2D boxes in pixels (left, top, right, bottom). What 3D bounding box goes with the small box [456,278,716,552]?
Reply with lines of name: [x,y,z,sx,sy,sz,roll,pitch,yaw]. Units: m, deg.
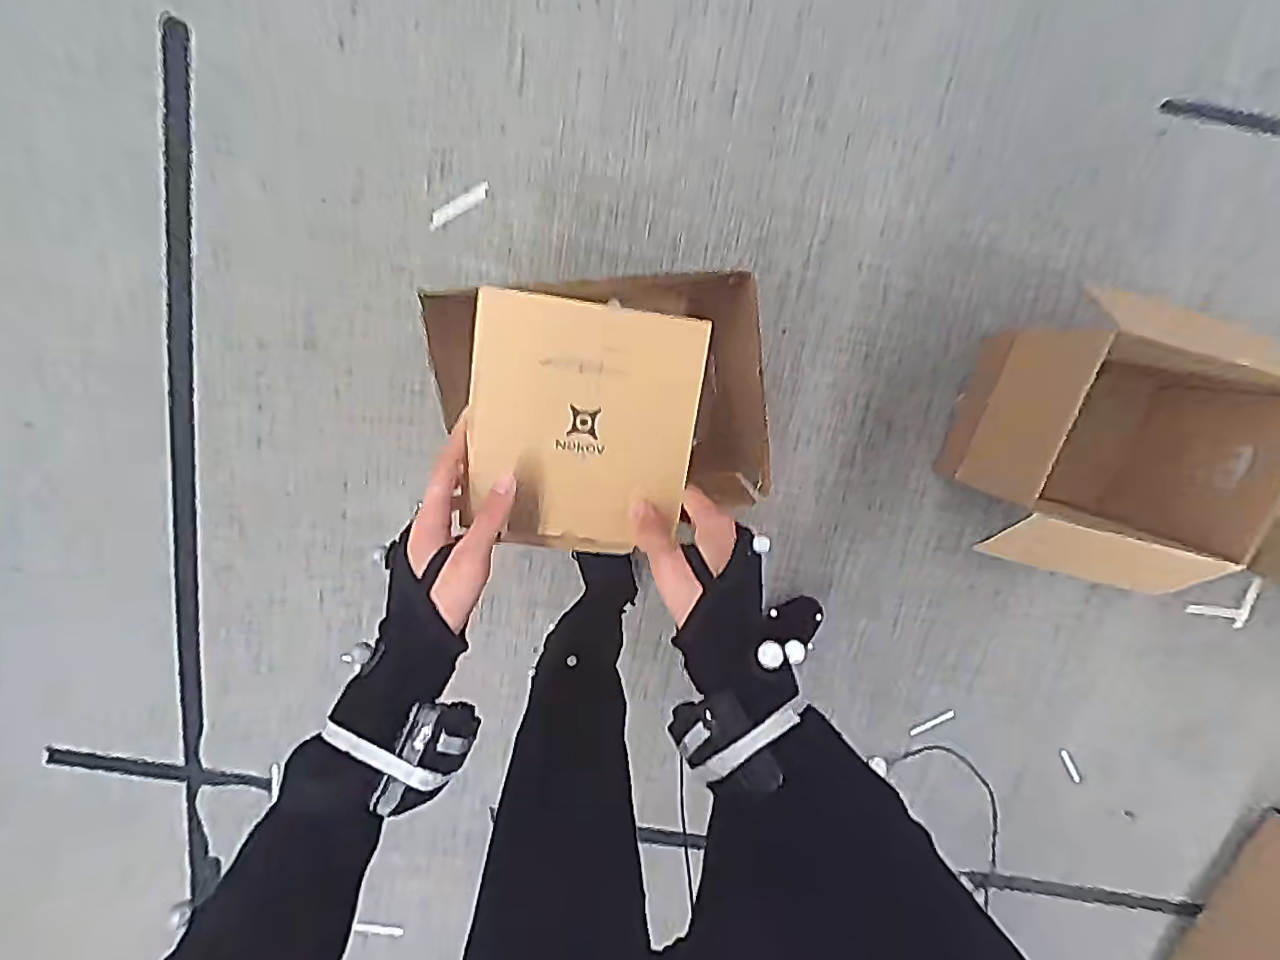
small box: [-0.048,-0.057,0.463,0.168,0.176,0.179,8,102,-9]
